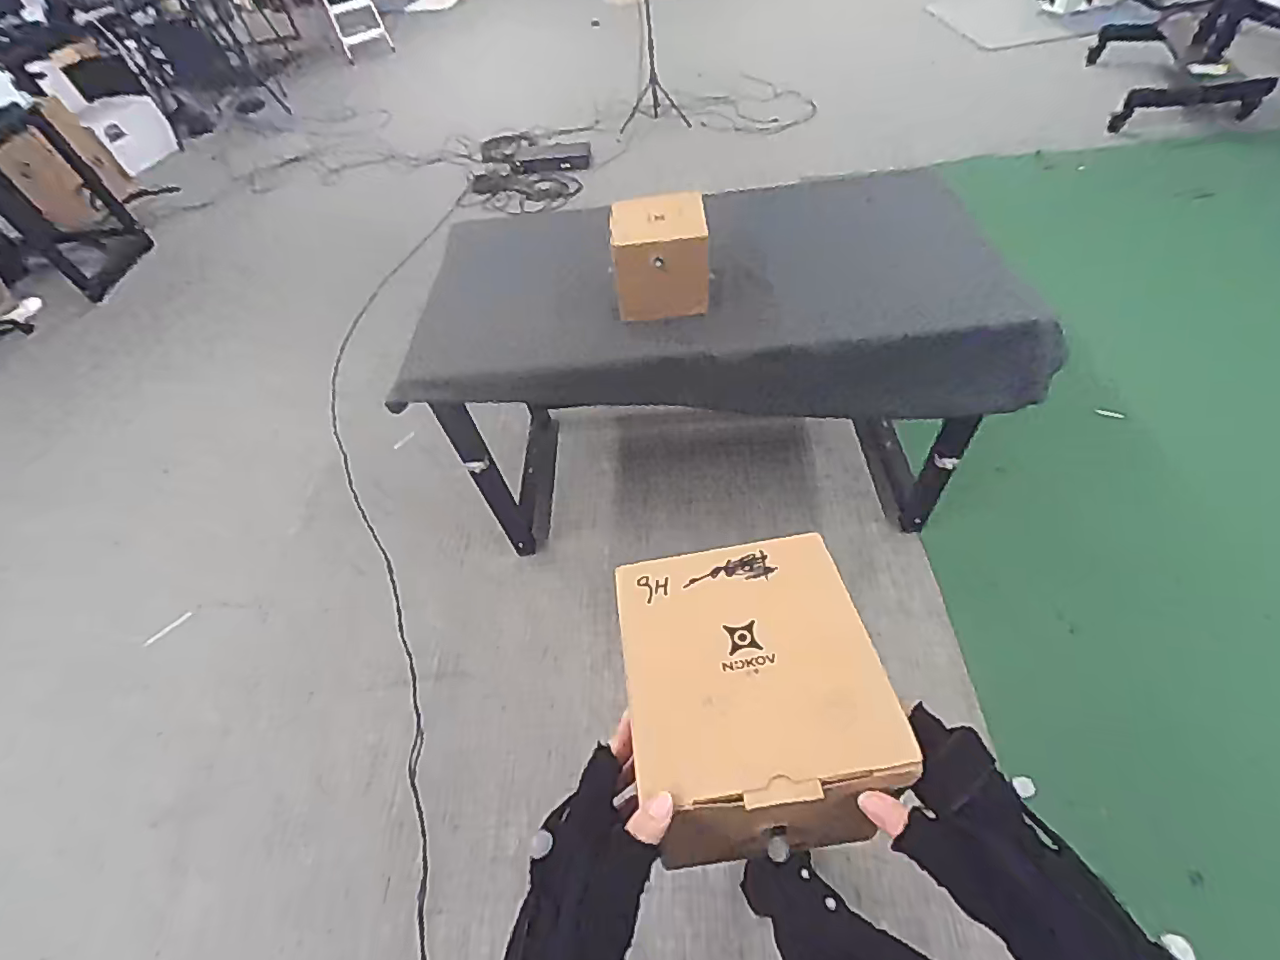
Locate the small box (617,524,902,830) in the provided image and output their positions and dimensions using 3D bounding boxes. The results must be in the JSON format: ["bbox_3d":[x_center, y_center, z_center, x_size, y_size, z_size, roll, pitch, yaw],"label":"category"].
[{"bbox_3d":[0.081,0.165,0.440,0.168,0.176,0.179,-10,46,0],"label":"small box"}]

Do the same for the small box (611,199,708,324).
[{"bbox_3d":[0.042,-0.429,1.077,0.179,0.176,0.168,-4,53,3],"label":"small box"}]
